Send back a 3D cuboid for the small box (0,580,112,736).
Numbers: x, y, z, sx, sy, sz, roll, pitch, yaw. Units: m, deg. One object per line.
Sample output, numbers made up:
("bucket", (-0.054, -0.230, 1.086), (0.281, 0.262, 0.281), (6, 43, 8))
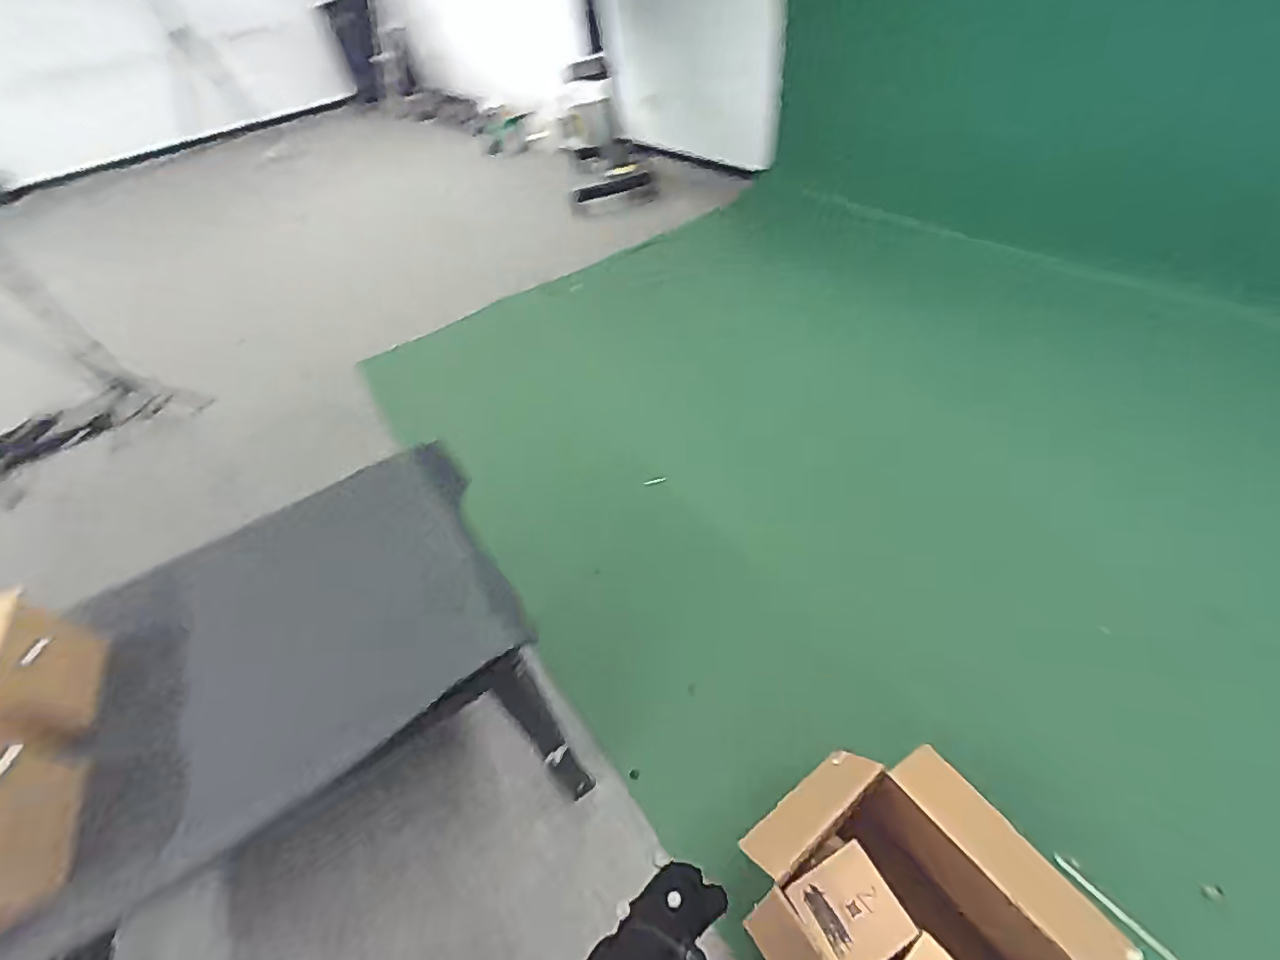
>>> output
("small box", (-0.949, 0.290, 0.805), (0.168, 0.176, 0.179), (-26, 49, -15))
